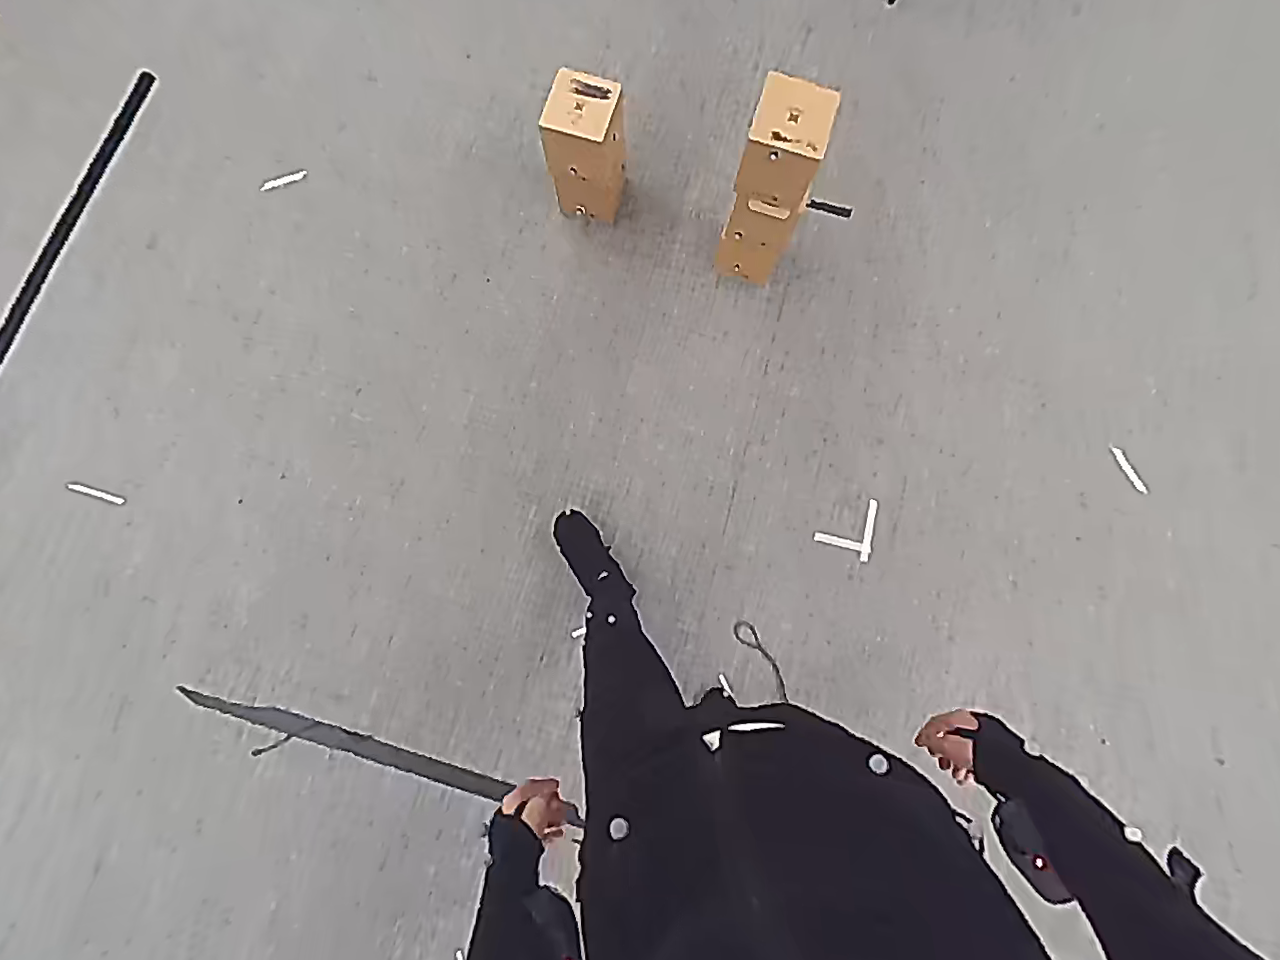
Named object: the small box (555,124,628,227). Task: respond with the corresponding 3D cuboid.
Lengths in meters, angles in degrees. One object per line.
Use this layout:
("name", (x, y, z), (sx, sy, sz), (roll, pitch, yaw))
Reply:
("small box", (-0.137, -0.876, 1.567), (0.168, 0.176, 0.179), (14, 79, 2))

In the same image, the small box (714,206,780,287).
("small box", (0.321, -0.690, 1.549), (0.168, 0.176, 0.179), (18, 80, 1))

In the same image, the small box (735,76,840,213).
("small box", (0.326, -0.752, 1.226), (0.168, 0.176, 0.179), (18, 79, 1))

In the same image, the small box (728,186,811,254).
("small box", (0.333, -0.718, 1.388), (0.168, 0.176, 0.179), (18, 79, 1))
